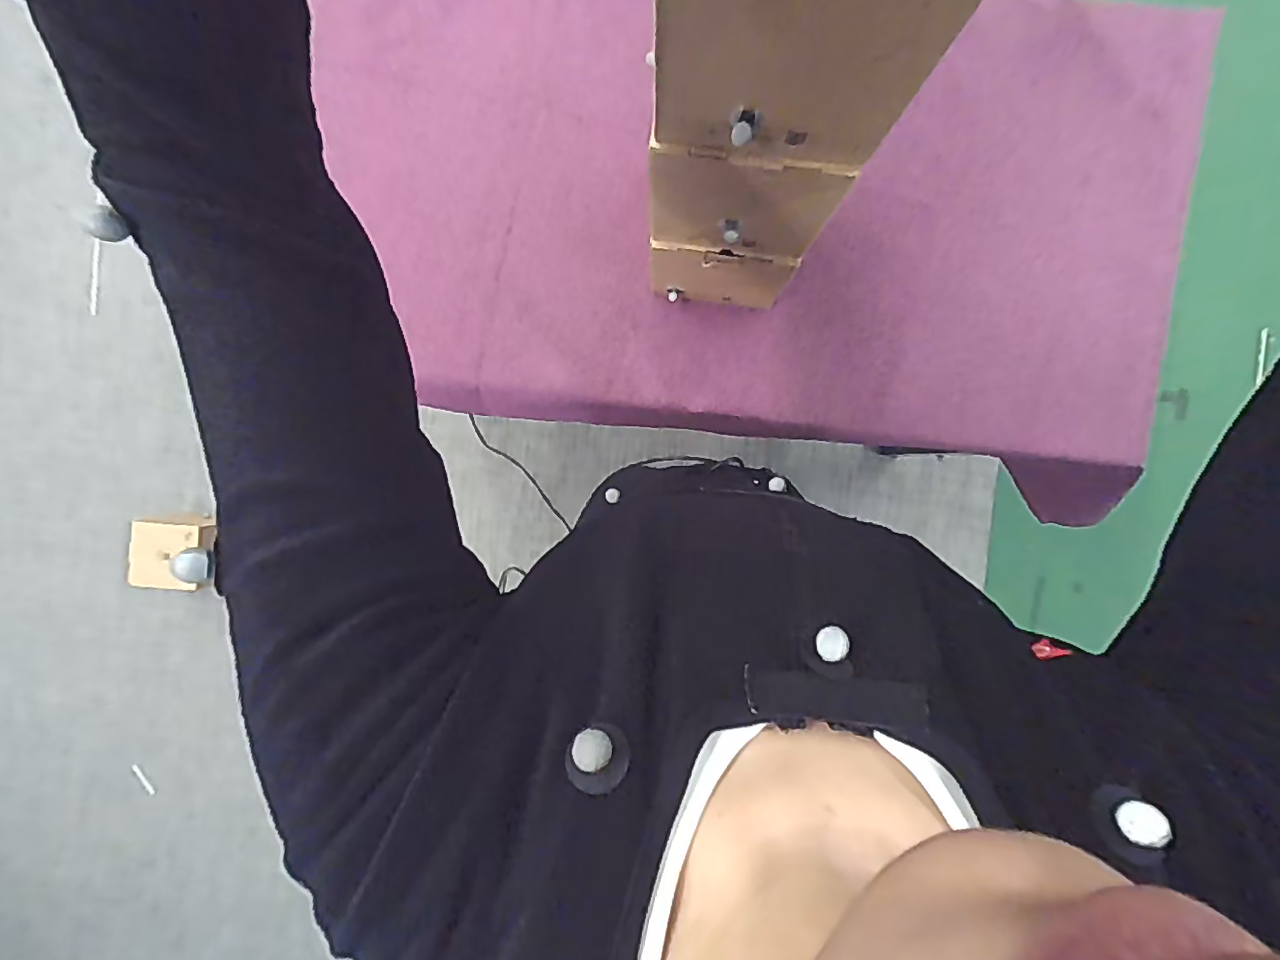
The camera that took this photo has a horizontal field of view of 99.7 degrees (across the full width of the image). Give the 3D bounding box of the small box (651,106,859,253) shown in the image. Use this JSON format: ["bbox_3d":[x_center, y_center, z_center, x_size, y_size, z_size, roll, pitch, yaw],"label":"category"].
[{"bbox_3d":[0.102,-0.337,0.498,0.168,0.176,0.179,8,92,2],"label":"small box"}]

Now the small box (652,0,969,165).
[{"bbox_3d":[0.099,-0.337,0.335,0.168,0.176,0.179,8,92,2],"label":"small box"}]

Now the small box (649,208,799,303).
[{"bbox_3d":[0.106,-0.332,0.662,0.168,0.176,0.179,8,91,1],"label":"small box"}]

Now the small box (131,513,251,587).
[{"bbox_3d":[-1.187,0.179,1.436,0.179,0.176,0.168,5,91,2],"label":"small box"}]
